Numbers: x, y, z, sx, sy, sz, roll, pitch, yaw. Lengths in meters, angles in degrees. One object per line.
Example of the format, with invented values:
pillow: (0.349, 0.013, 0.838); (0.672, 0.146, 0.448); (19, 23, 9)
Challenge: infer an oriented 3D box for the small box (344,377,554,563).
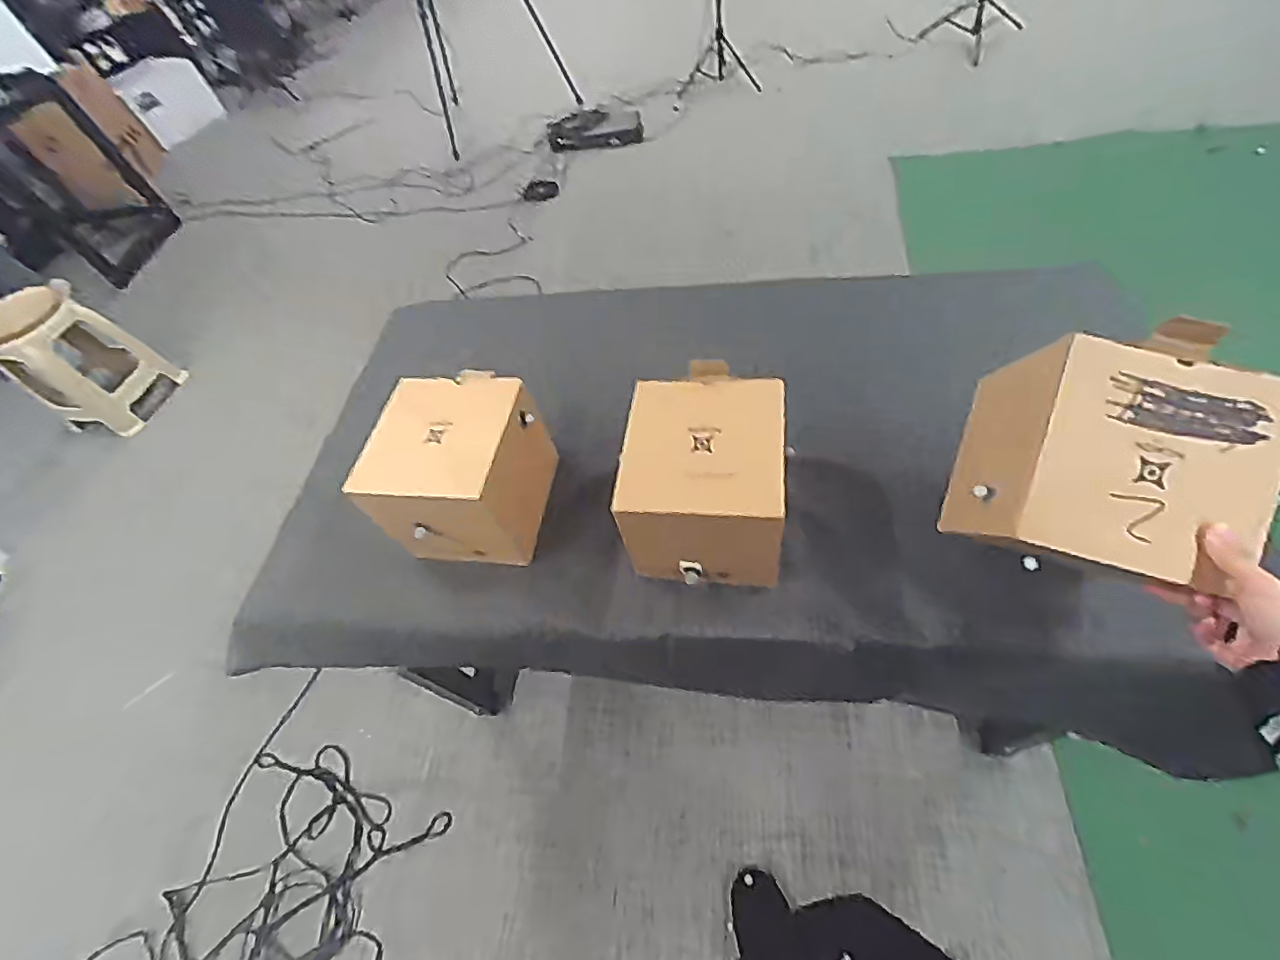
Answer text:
small box: (-0.220, -0.008, 0.682); (0.168, 0.176, 0.179); (2, 55, 12)

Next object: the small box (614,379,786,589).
small box: (0.077, 0.006, 0.618); (0.168, 0.176, 0.179); (1, 56, 12)
